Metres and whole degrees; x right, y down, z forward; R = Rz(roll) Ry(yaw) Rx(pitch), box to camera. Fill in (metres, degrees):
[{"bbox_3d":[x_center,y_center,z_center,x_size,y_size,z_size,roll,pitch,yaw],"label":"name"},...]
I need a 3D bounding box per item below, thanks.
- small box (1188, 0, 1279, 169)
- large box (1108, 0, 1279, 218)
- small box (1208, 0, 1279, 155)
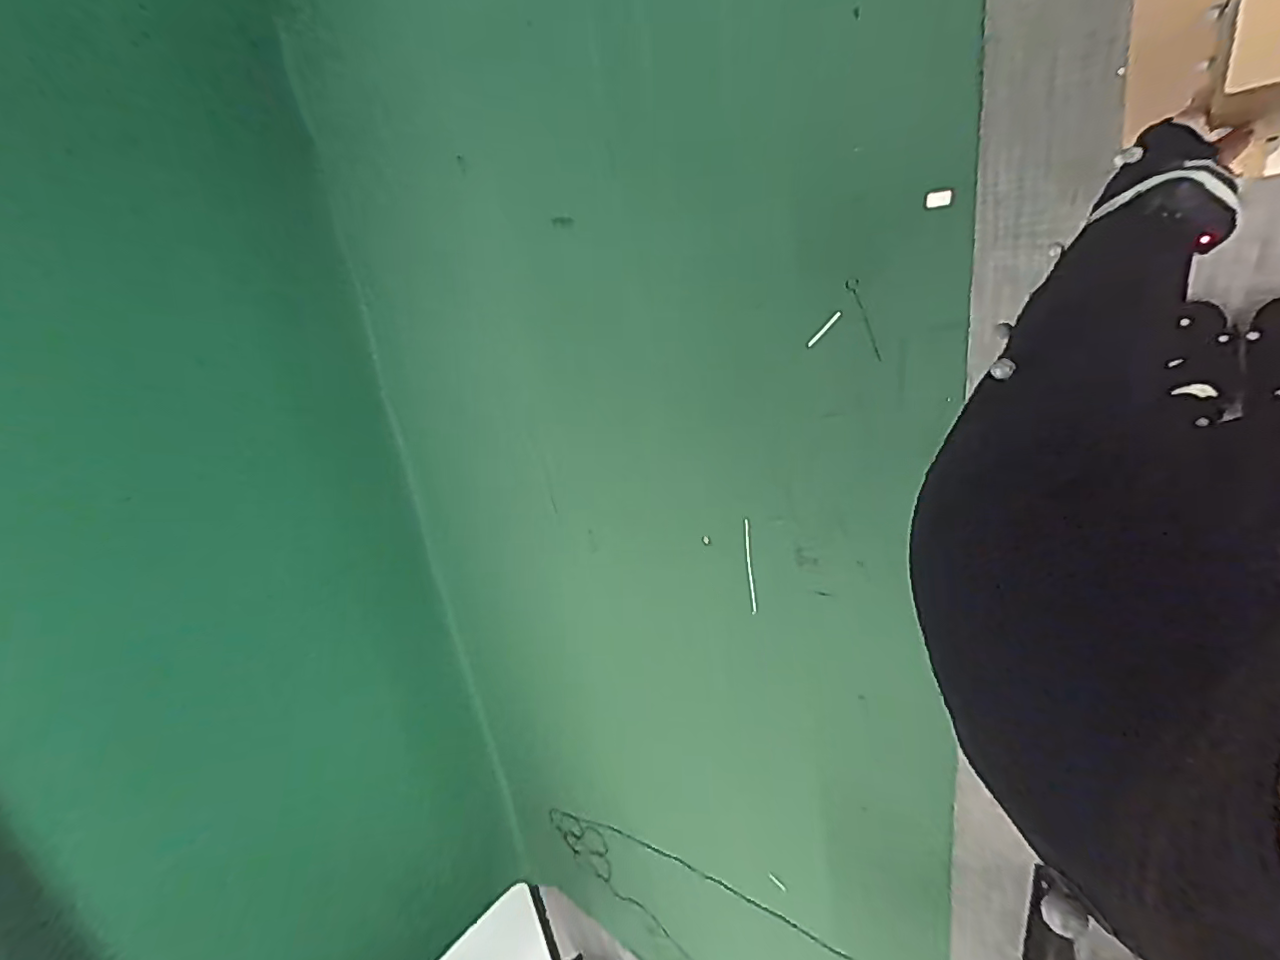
[{"bbox_3d":[0.764,-0.475,0.624,0.168,0.176,0.179,8,113,40],"label":"small box"},{"bbox_3d":[0.899,-0.634,0.777,0.320,0.320,0.408,6,111,41],"label":"large box"},{"bbox_3d":[0.665,-0.422,0.504,0.168,0.176,0.179,8,113,40],"label":"small box"}]
